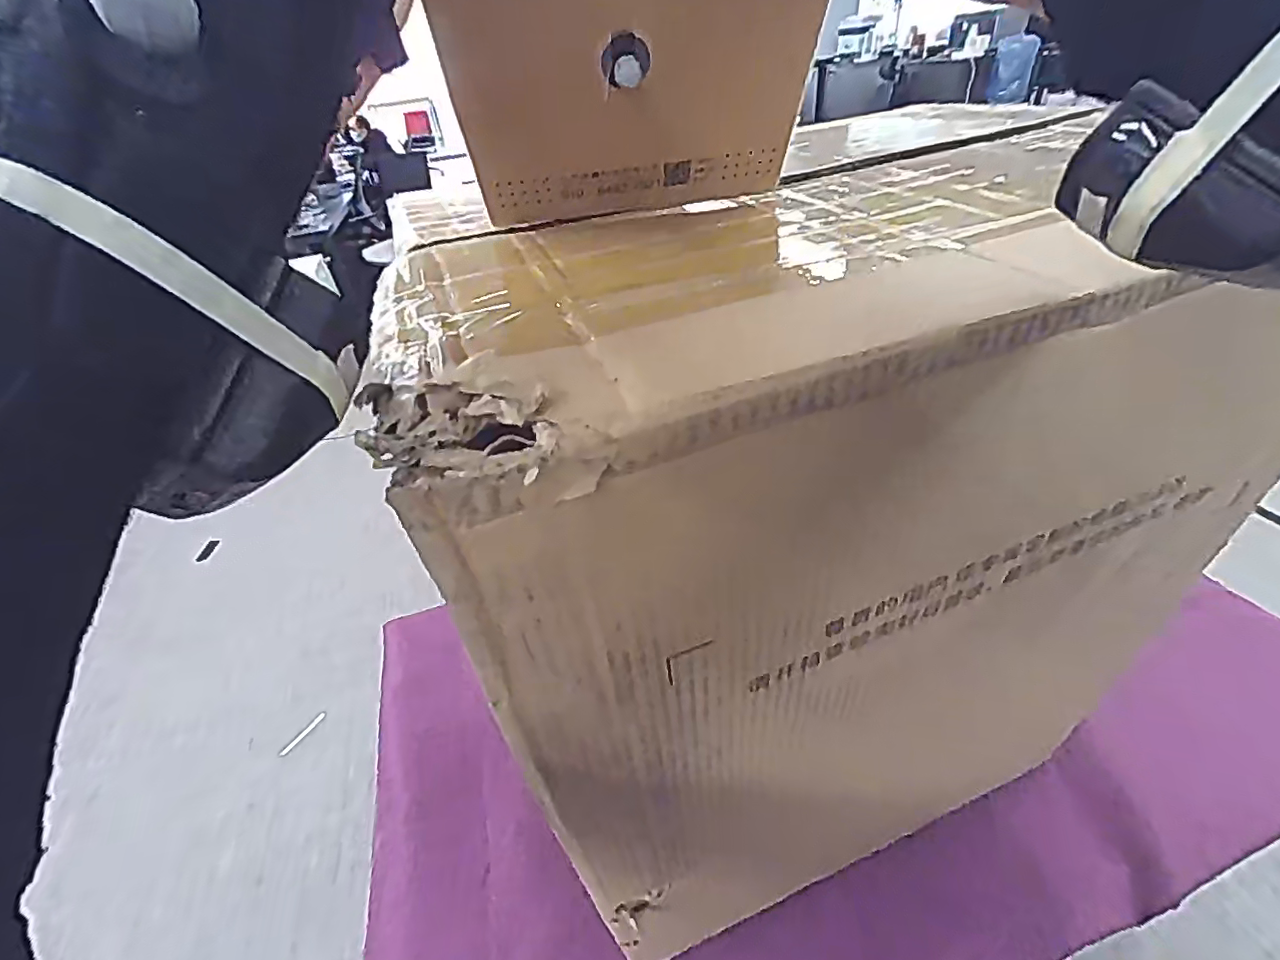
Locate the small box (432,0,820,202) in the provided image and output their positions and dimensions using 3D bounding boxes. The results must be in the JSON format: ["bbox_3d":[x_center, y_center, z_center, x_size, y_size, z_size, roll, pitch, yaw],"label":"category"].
[{"bbox_3d":[-0.013,-0.261,0.260,0.168,0.176,0.179,-9,69,-4],"label":"small box"}]
